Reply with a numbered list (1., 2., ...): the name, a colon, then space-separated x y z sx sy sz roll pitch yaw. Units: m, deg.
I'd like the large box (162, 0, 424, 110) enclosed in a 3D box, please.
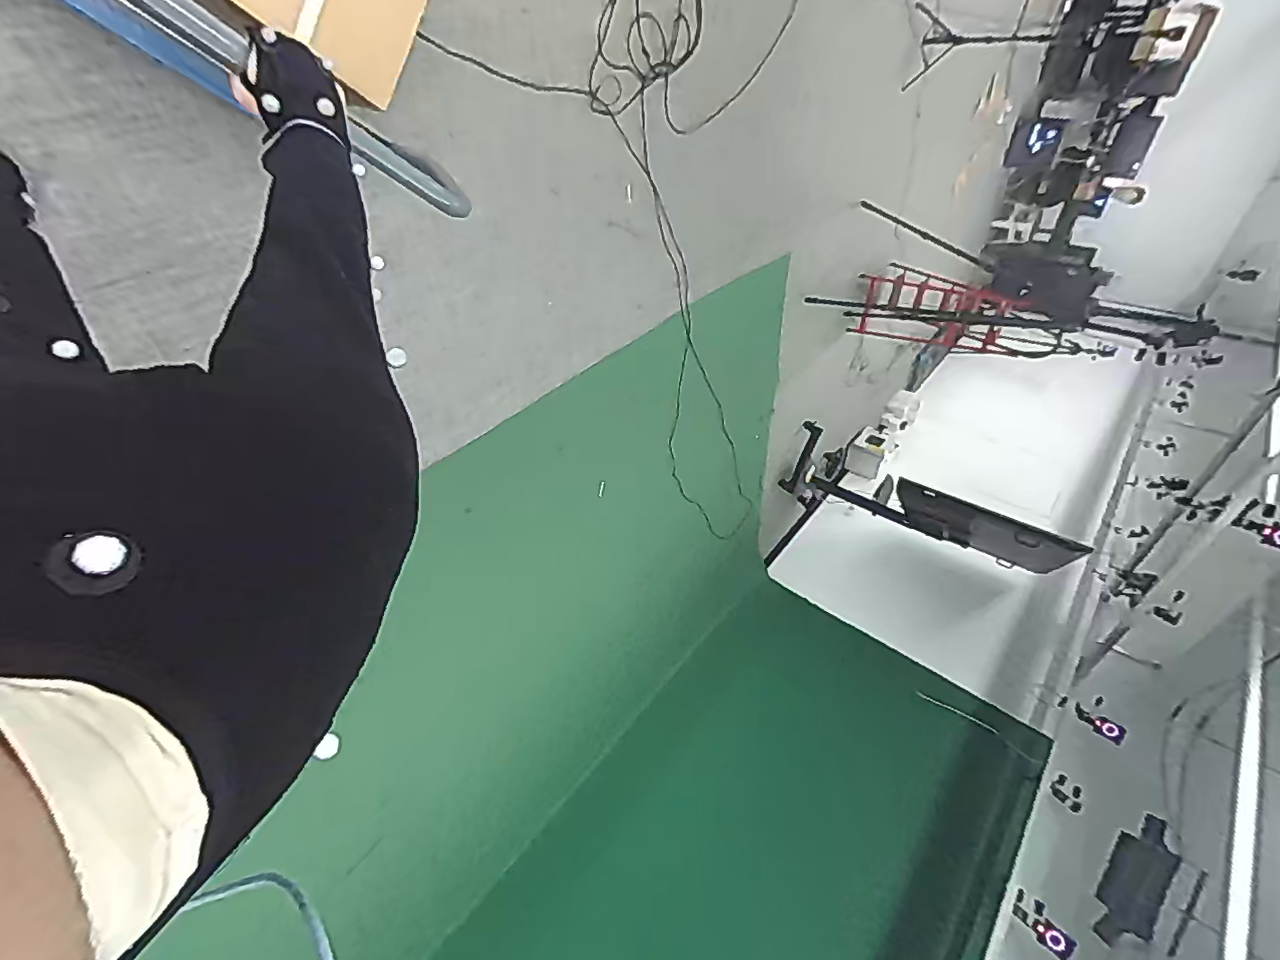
1. large box: -0.571 -0.925 0.906 0.320 0.320 0.408 10 108 -57
